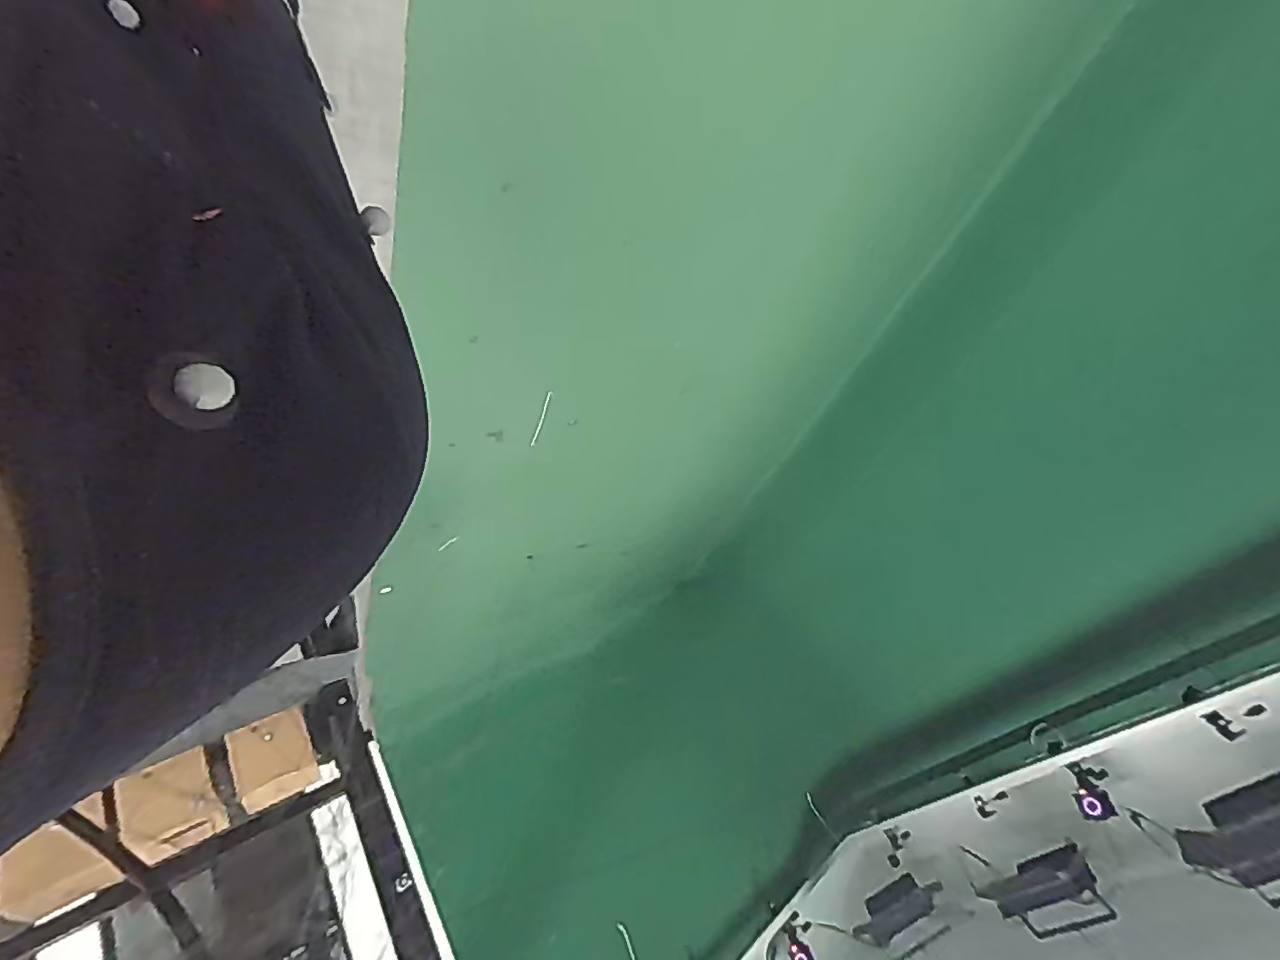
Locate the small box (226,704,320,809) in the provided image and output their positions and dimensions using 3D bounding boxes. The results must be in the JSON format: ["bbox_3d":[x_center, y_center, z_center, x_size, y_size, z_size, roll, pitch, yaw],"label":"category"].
[{"bbox_3d":[-0.962,0.722,1.423,0.168,0.176,0.179,-17,148,-37],"label":"small box"}]
